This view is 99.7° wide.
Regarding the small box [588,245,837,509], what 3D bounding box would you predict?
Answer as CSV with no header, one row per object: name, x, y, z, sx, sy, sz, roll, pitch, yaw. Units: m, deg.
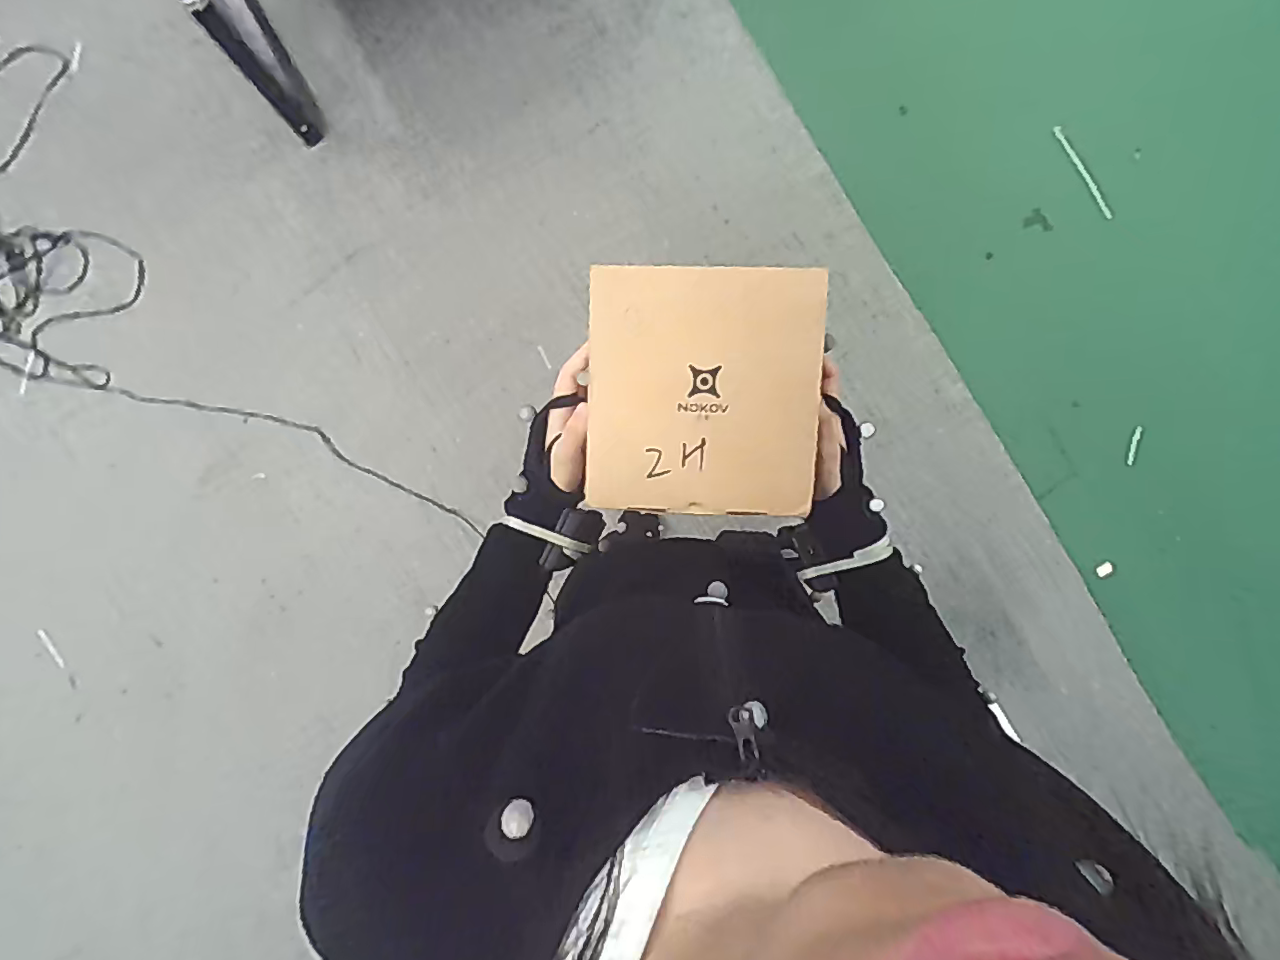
small box,0.051,-0.077,0.446,0.168,0.176,0.179,1,97,3
